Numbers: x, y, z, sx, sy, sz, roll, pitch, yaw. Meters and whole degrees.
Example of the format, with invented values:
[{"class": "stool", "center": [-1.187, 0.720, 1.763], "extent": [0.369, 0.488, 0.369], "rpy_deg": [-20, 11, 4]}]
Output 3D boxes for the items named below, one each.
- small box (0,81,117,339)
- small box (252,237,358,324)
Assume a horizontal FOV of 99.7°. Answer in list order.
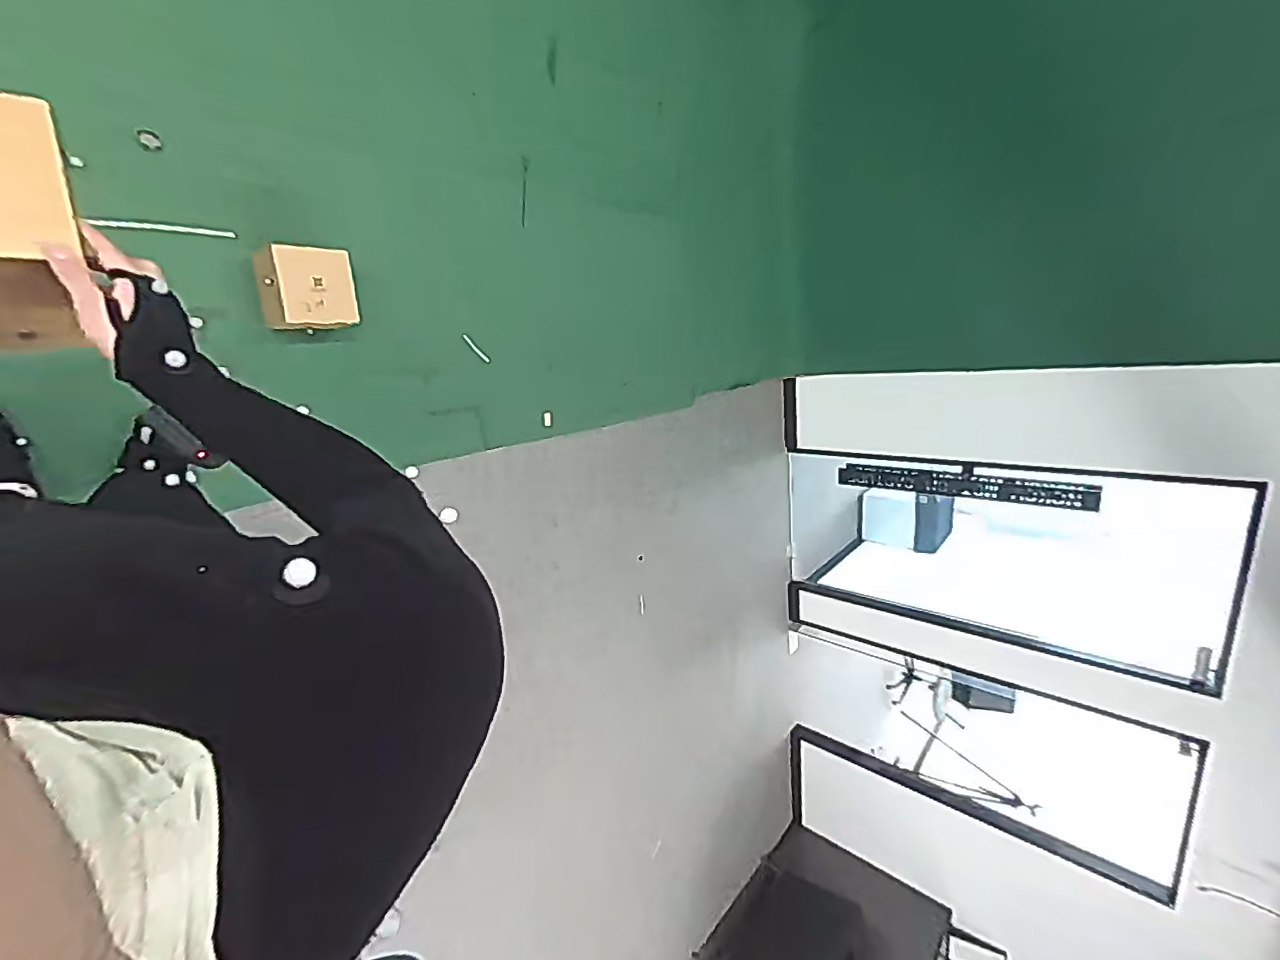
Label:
[{"class": "small box", "center": [-0.628, -0.245, 0.507], "extent": [0.168, 0.176, 0.179], "rpy_deg": [-15, 82, -41]}, {"class": "small box", "center": [-0.829, -0.484, 1.336], "extent": [0.168, 0.176, 0.179], "rpy_deg": [-18, 110, -46]}]
